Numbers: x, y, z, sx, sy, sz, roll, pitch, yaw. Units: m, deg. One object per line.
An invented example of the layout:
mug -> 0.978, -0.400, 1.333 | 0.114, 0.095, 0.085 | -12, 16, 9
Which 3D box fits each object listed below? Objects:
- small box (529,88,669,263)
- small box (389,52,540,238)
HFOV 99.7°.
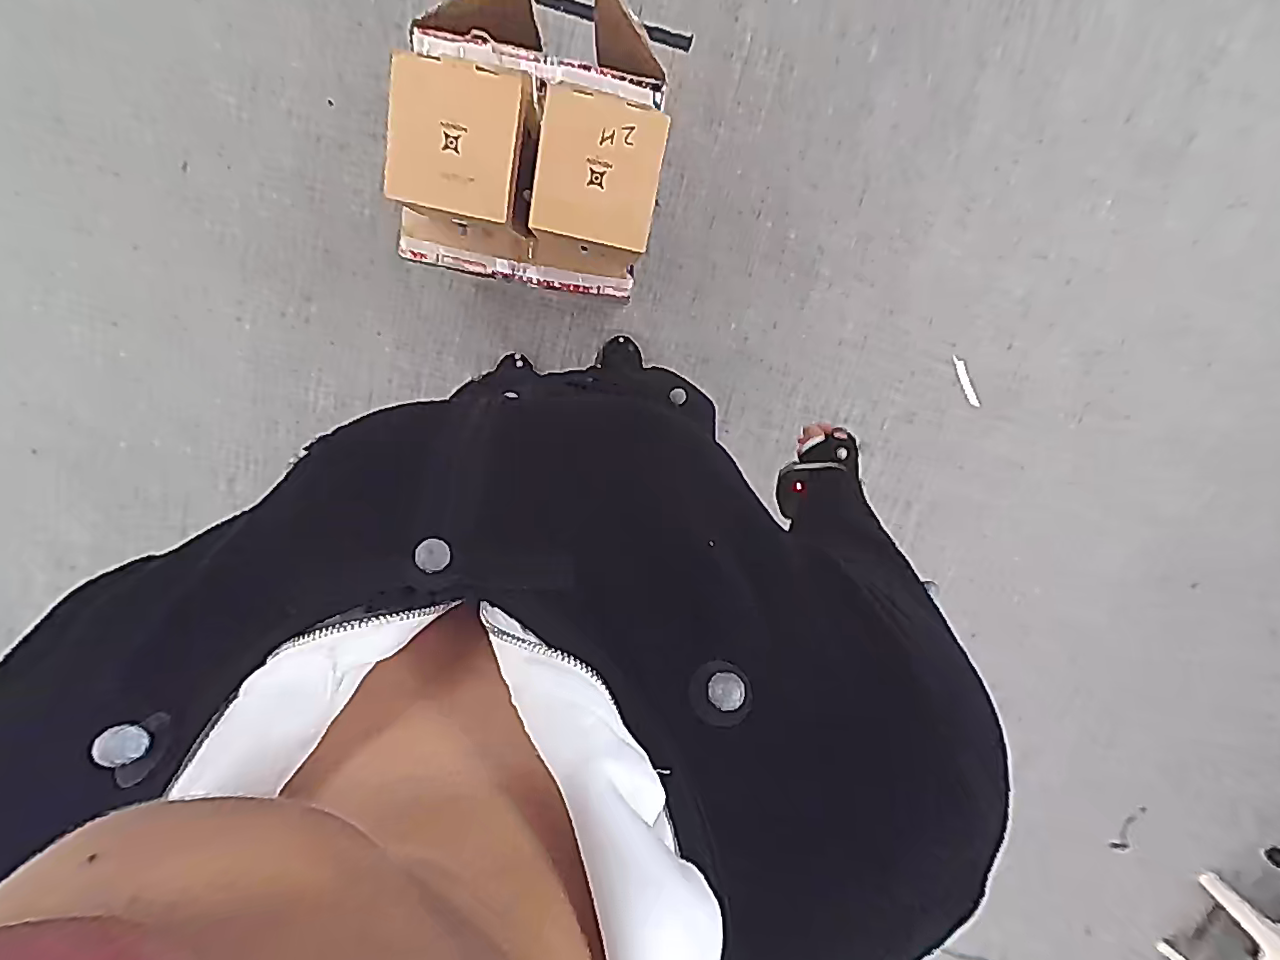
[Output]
small box -> -0.061, -0.434, 0.805 | 0.168, 0.176, 0.179 | 10, 105, -7
small box -> -0.245, -0.469, 0.786 | 0.168, 0.176, 0.179 | 10, 108, -4
